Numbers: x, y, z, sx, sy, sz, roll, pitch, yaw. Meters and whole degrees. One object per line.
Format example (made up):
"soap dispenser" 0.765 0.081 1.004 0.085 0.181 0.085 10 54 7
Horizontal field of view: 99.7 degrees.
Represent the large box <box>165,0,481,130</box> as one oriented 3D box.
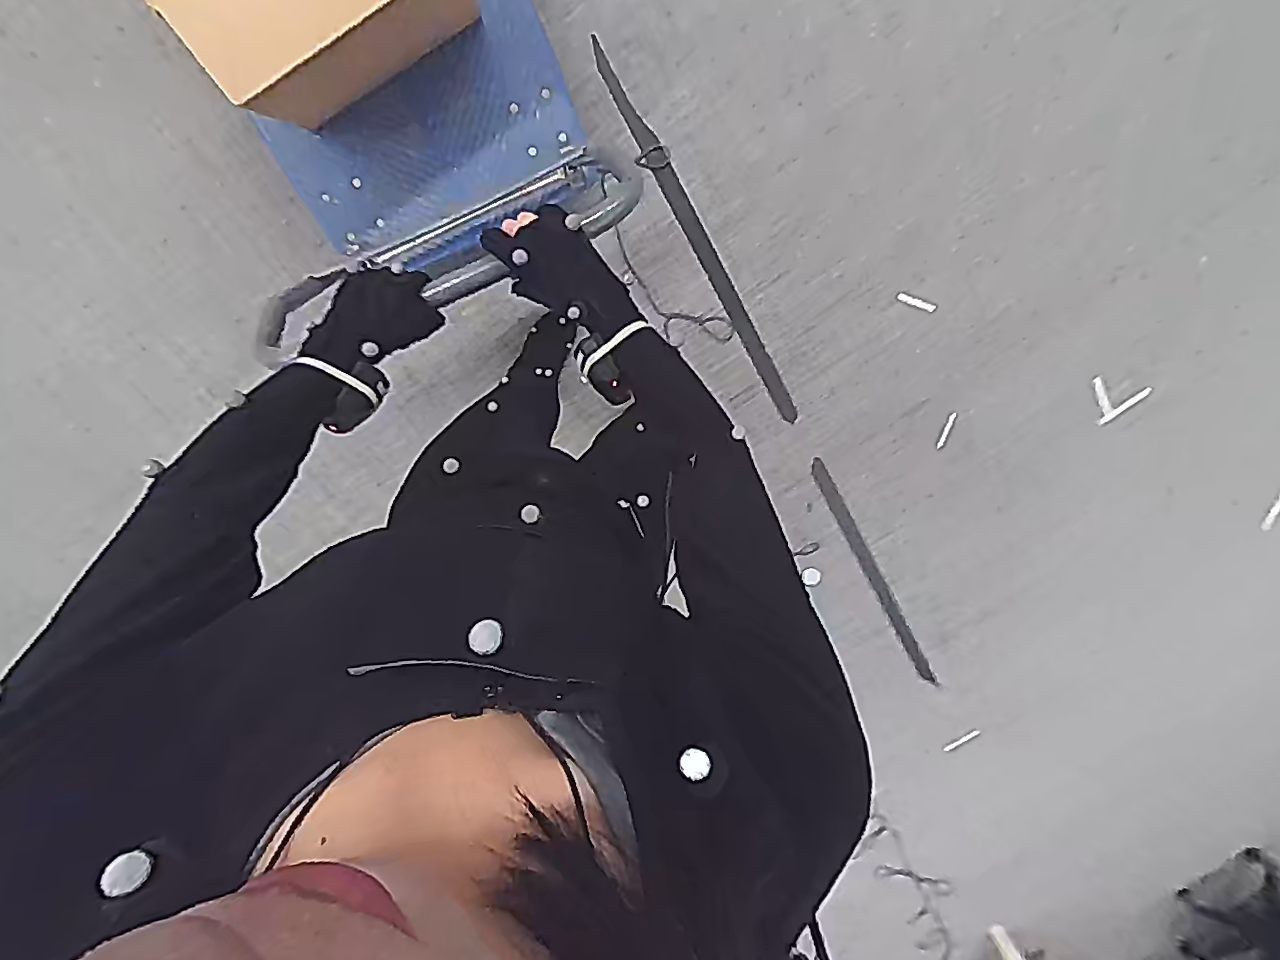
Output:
"large box" -0.509 -0.825 0.833 0.408 0.320 0.320 -31 118 4
